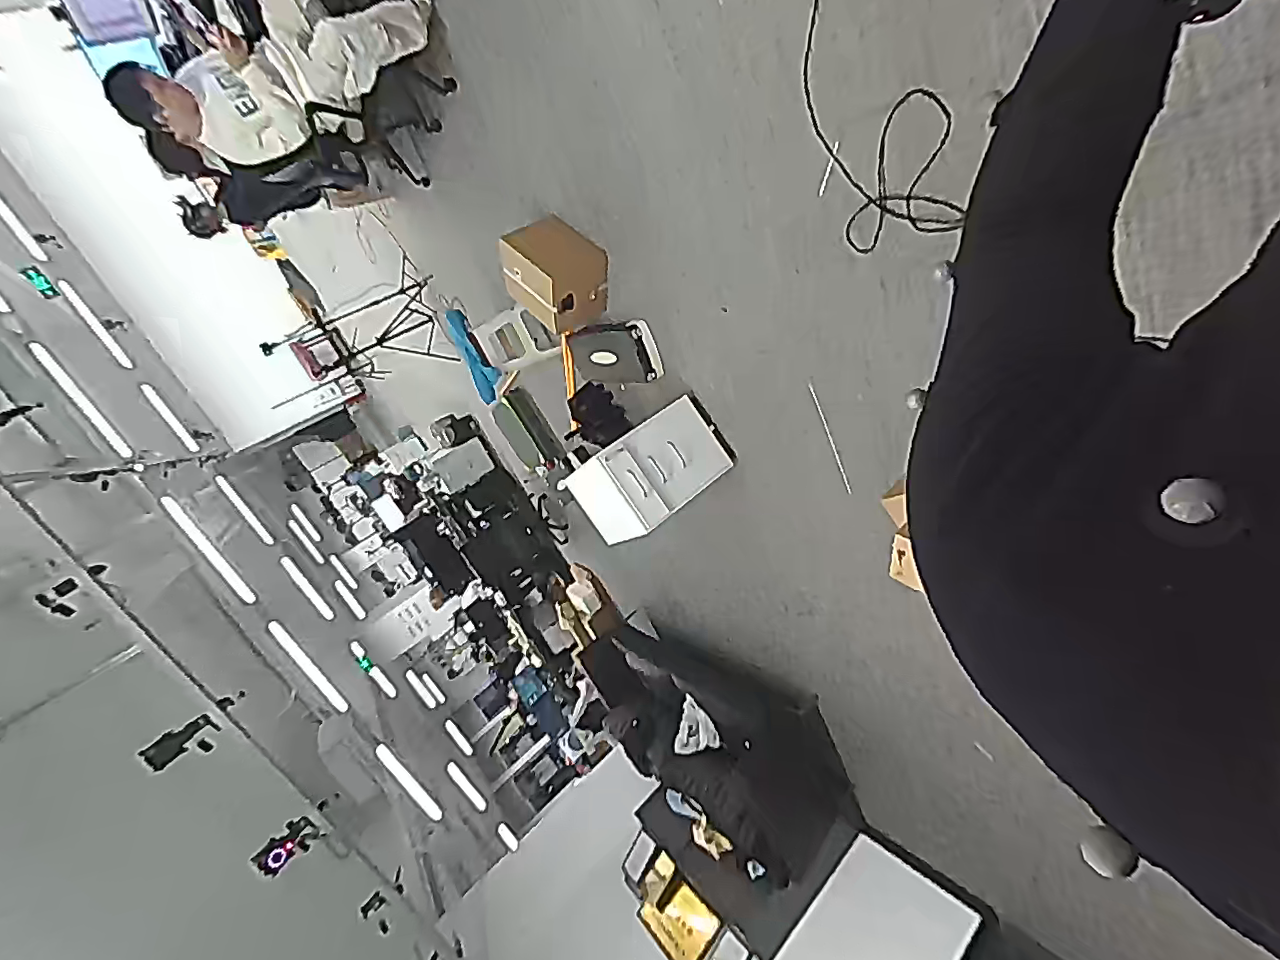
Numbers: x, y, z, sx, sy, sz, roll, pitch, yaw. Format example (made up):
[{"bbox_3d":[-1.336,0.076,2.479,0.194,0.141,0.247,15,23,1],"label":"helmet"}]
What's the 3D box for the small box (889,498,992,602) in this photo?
[{"bbox_3d":[0.774,0.174,1.396,0.179,0.176,0.168,27,144,40],"label":"small box"}]
